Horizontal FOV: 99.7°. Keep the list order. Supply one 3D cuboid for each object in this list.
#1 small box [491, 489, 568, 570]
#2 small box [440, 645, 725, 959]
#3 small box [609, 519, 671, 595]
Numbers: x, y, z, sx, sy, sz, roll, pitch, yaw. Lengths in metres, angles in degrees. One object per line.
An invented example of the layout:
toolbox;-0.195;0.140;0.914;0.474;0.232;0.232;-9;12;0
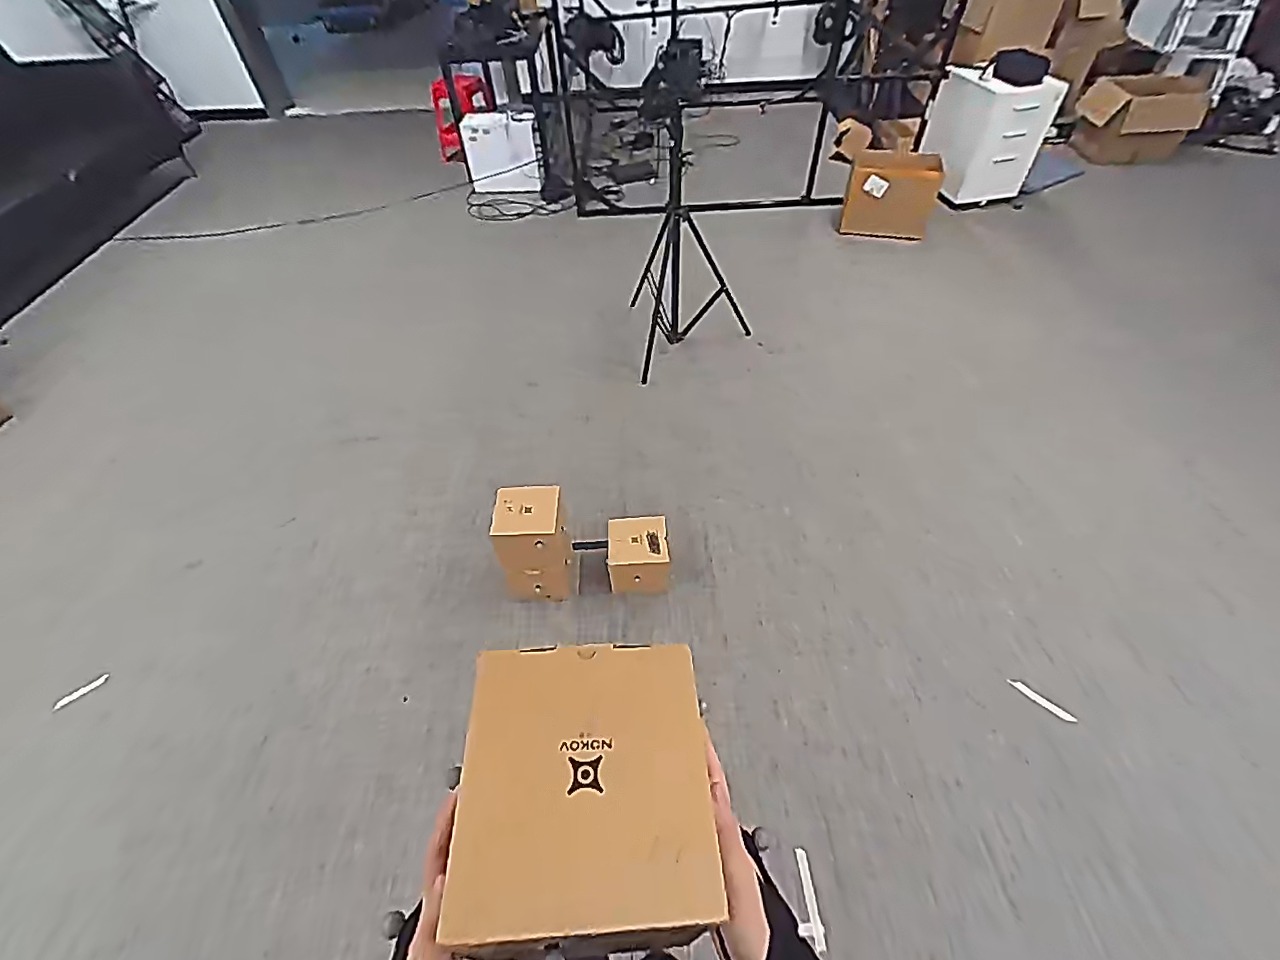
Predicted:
small box;-0.300;0.141;1.517;0.179;0.176;0.168;-2;48;1
small box;-0.040;0.251;0.418;0.168;0.176;0.179;-1;44;-6
small box;0.001;0.234;1.639;0.179;0.176;0.168;-4;49;1
